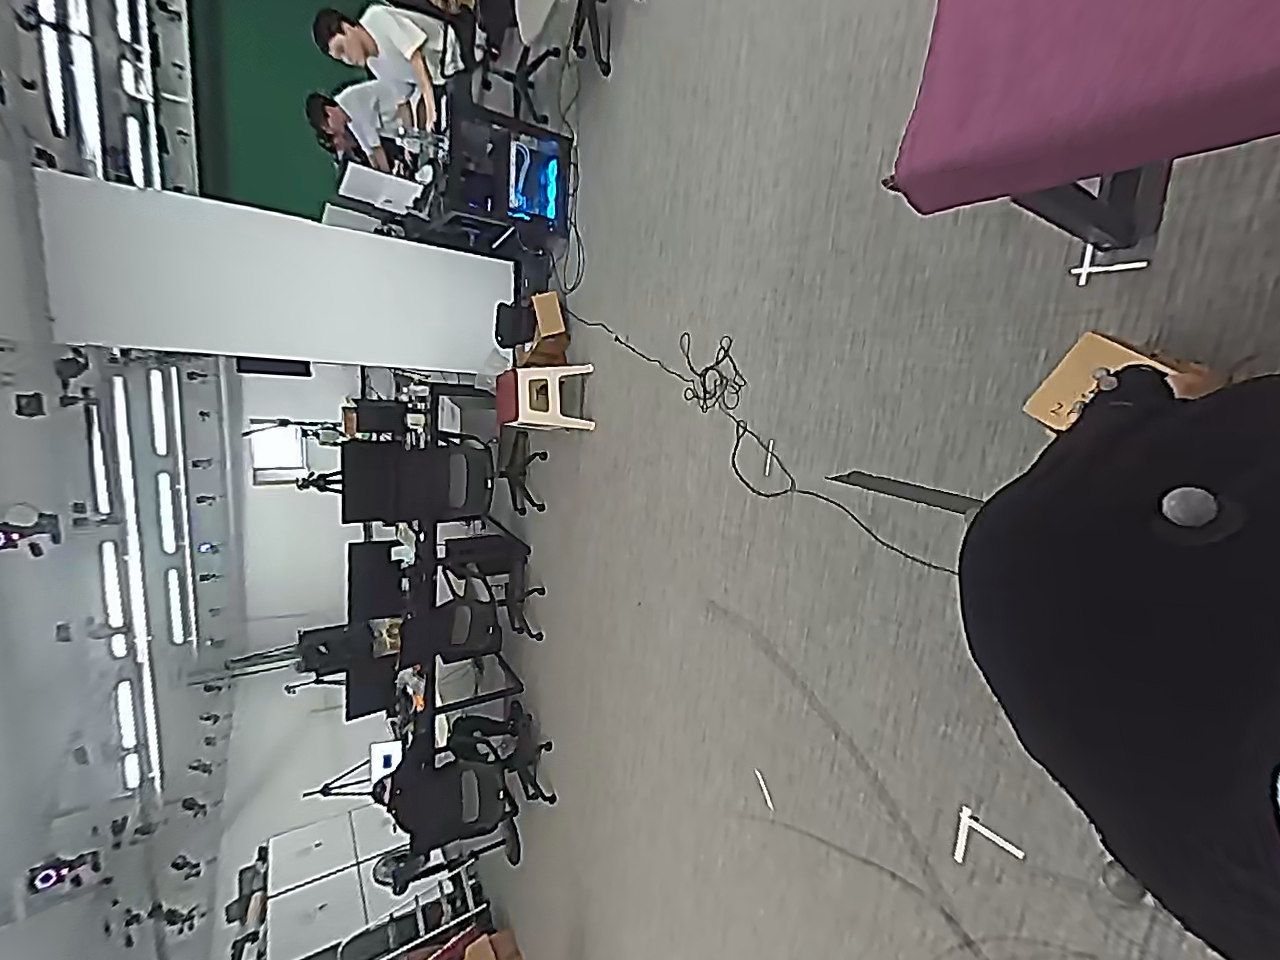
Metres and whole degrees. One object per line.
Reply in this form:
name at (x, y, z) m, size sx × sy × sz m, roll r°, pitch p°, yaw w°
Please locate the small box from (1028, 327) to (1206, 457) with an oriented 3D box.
small box at (0.890, -0.162, 1.008) m, size 0.168 × 0.176 × 0.179 m, roll 54°, pitch 136°, yaw 39°
